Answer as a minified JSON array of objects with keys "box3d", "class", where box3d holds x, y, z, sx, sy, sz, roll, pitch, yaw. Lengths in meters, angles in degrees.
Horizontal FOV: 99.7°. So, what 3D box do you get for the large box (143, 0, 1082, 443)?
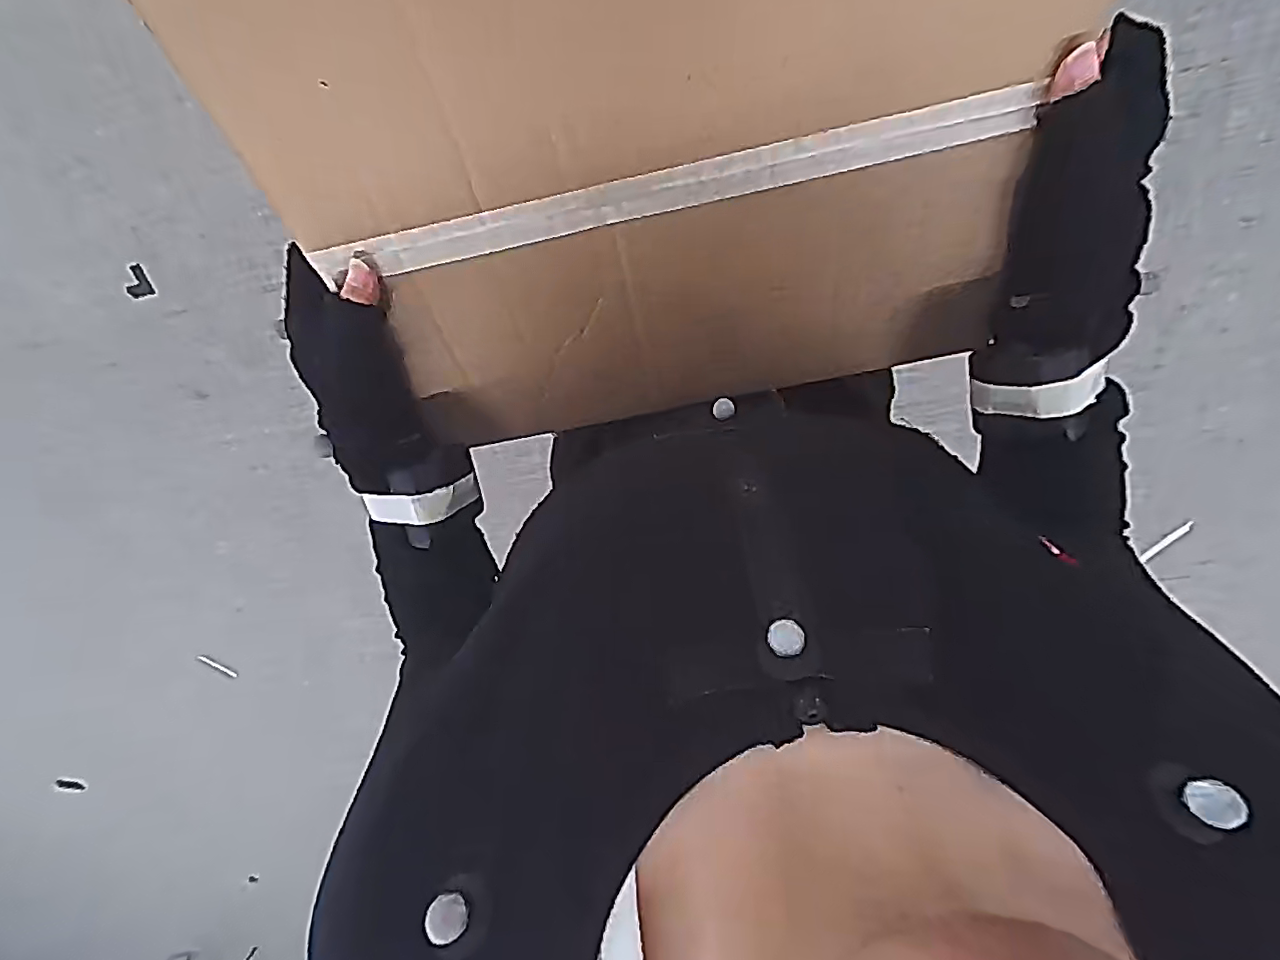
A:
[{"box3d":[0.003,-0.274,0.390,0.408,0.320,0.320,-11,140,5],"class":"large box"}]
